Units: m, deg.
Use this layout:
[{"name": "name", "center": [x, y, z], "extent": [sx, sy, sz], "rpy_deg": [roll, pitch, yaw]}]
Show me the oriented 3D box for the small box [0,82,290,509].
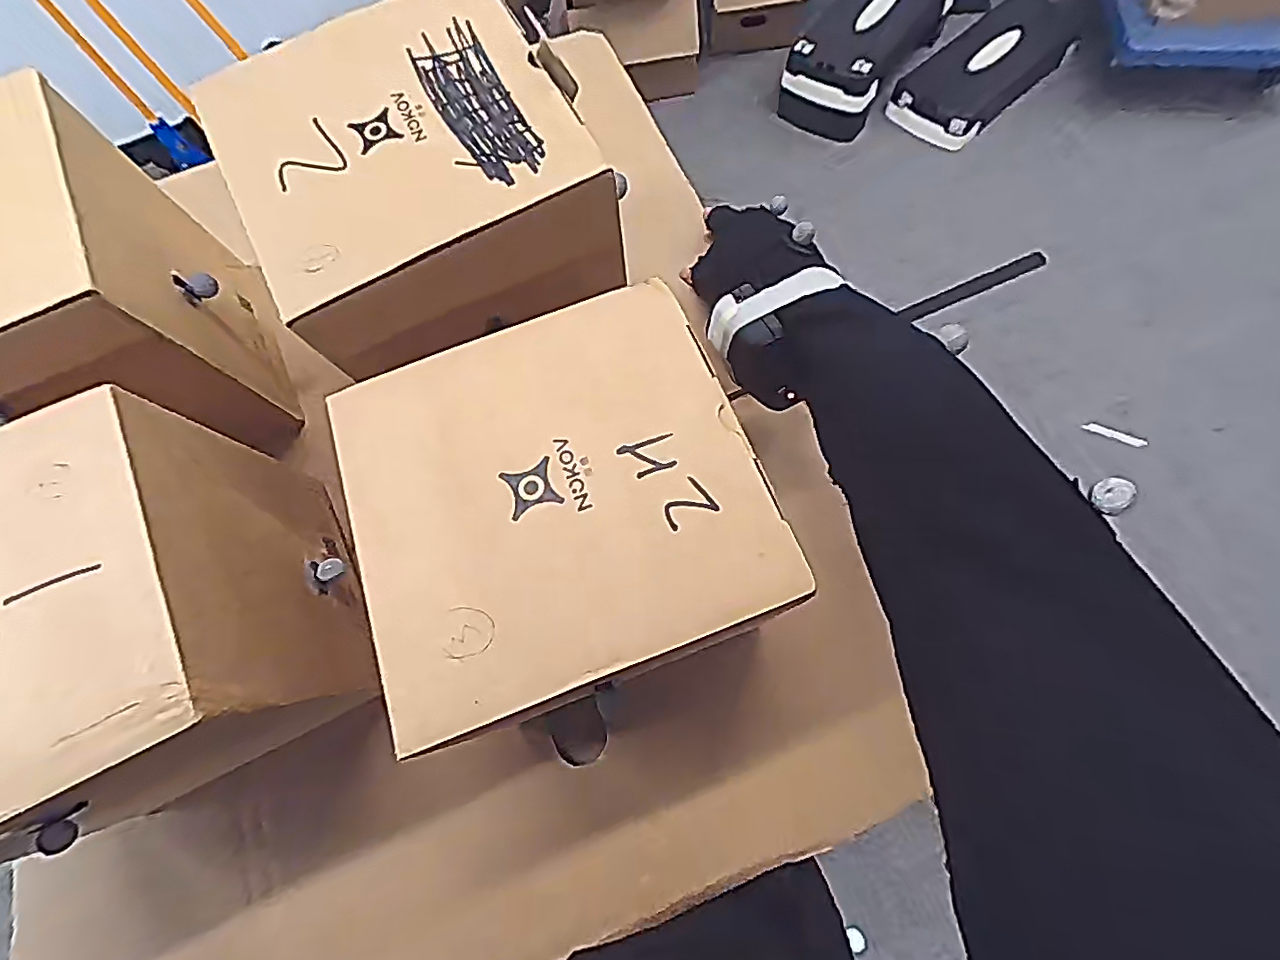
[{"name": "small box", "center": [-0.373, -0.102, 0.361], "extent": [0.179, 0.176, 0.168], "rpy_deg": [-27, 74, -5]}]
